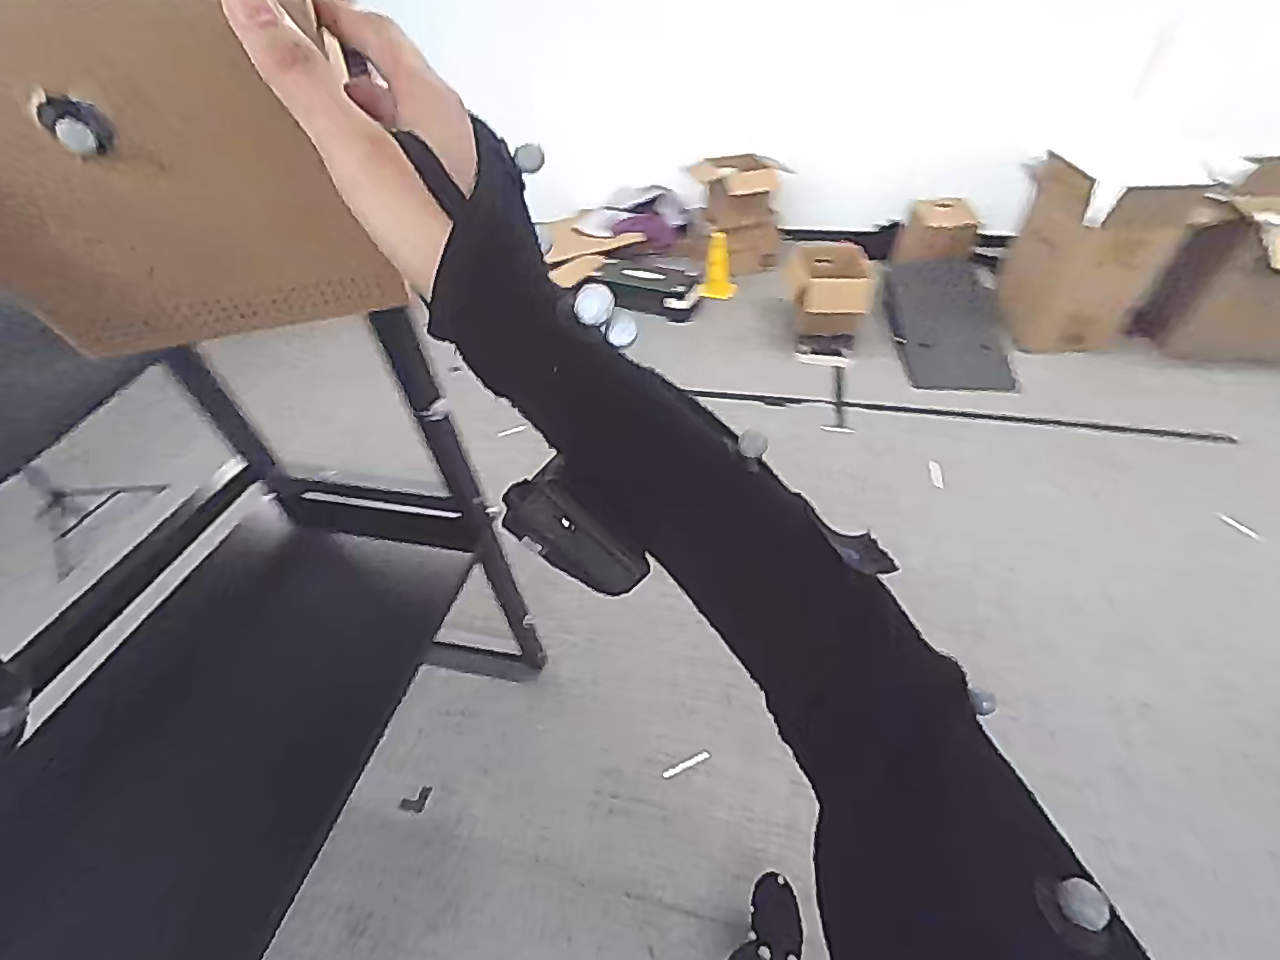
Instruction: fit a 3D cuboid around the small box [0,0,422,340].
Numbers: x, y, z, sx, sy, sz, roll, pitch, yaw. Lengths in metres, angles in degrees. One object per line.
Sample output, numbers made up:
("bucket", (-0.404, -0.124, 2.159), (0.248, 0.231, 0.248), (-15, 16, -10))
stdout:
("small box", (-0.234, -0.195, 0.281), (0.179, 0.176, 0.168), (-14, 67, -14))
